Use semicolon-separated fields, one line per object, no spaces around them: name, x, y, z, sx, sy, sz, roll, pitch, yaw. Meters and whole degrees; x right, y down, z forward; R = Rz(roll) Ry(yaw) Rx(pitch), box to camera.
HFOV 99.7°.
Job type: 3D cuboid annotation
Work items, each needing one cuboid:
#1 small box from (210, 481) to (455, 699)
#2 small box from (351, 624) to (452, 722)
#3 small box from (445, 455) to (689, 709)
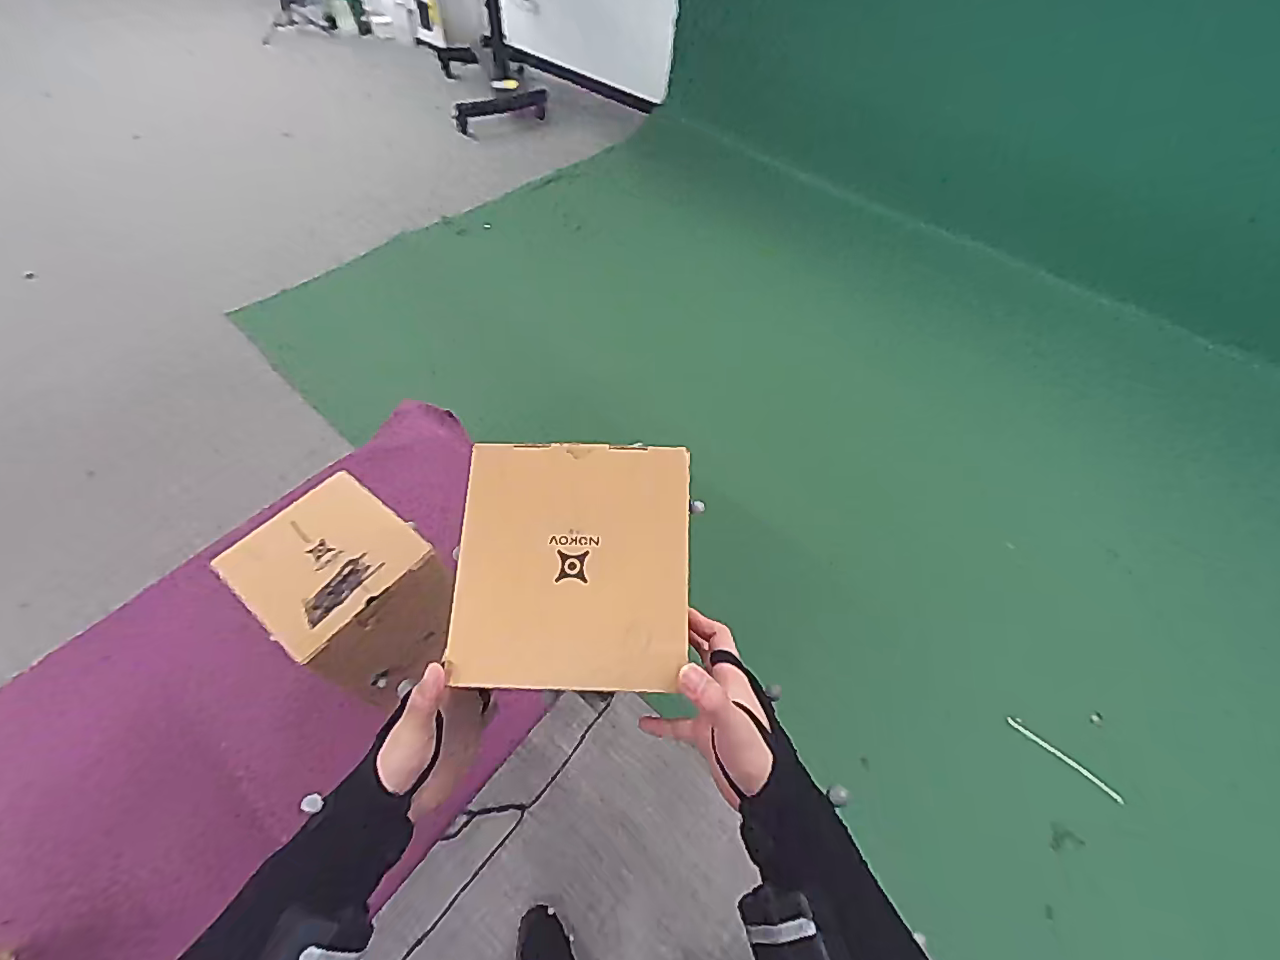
small box;-0.352;0.140;0.658;0.179;0.176;0.168;34;60;21
small box;-0.374;0.225;0.798;0.179;0.176;0.168;36;61;21
small box;-0.045;0.091;0.461;0.168;0.176;0.179;2;71;2
